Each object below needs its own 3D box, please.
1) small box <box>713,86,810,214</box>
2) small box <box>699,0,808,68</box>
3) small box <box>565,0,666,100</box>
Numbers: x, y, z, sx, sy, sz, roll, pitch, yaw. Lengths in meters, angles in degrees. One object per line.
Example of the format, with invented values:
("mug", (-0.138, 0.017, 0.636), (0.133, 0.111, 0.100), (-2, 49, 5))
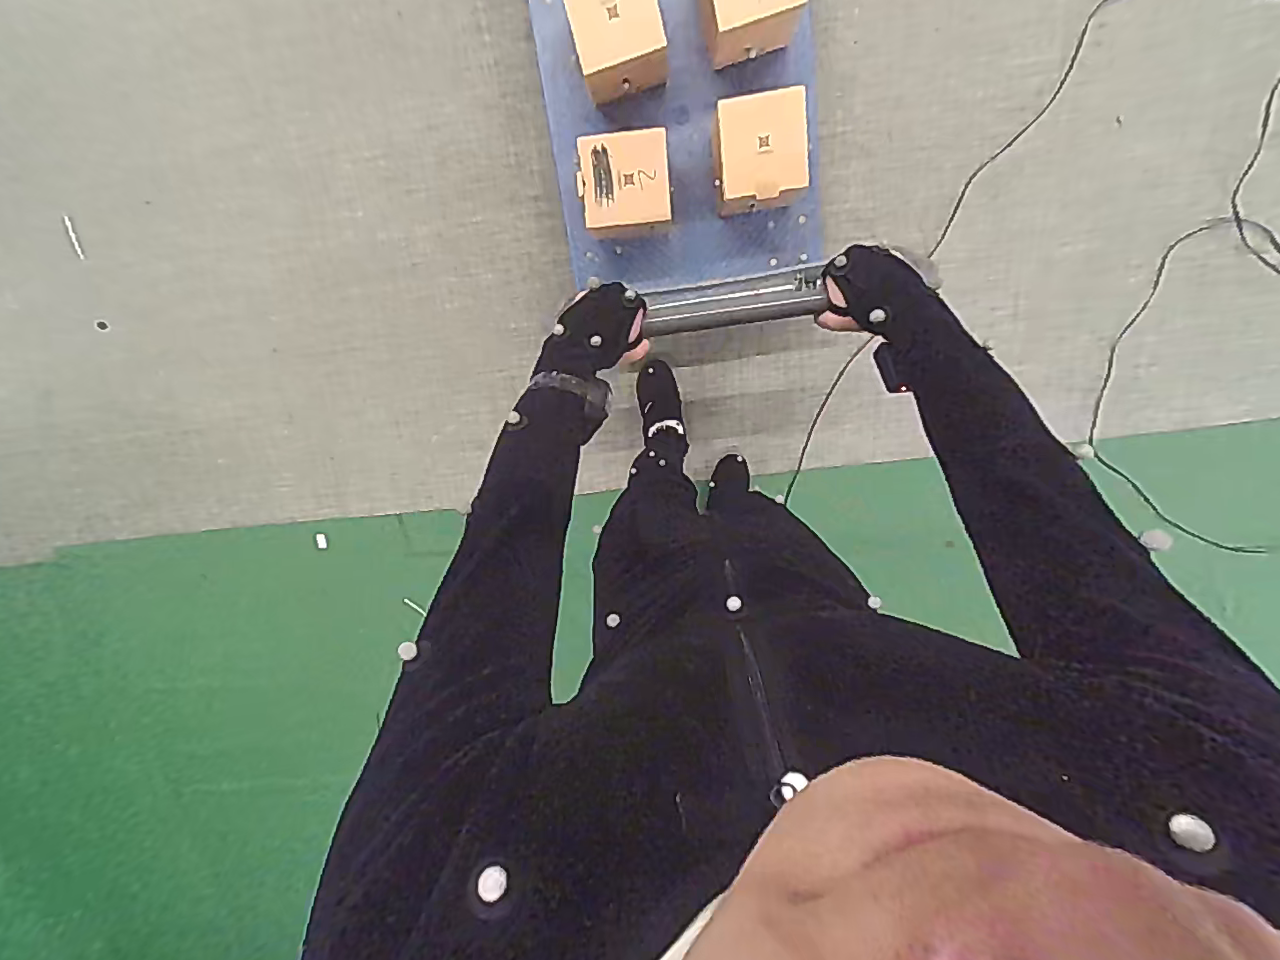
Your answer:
("small box", (0.245, -0.670, 1.116), (0.168, 0.176, 0.179), (-7, 107, 5))
("small box", (0.207, -0.941, 1.034), (0.168, 0.176, 0.179), (-14, 107, 7))
("small box", (-0.046, -0.884, 1.063), (0.168, 0.176, 0.179), (-15, 106, 6))
